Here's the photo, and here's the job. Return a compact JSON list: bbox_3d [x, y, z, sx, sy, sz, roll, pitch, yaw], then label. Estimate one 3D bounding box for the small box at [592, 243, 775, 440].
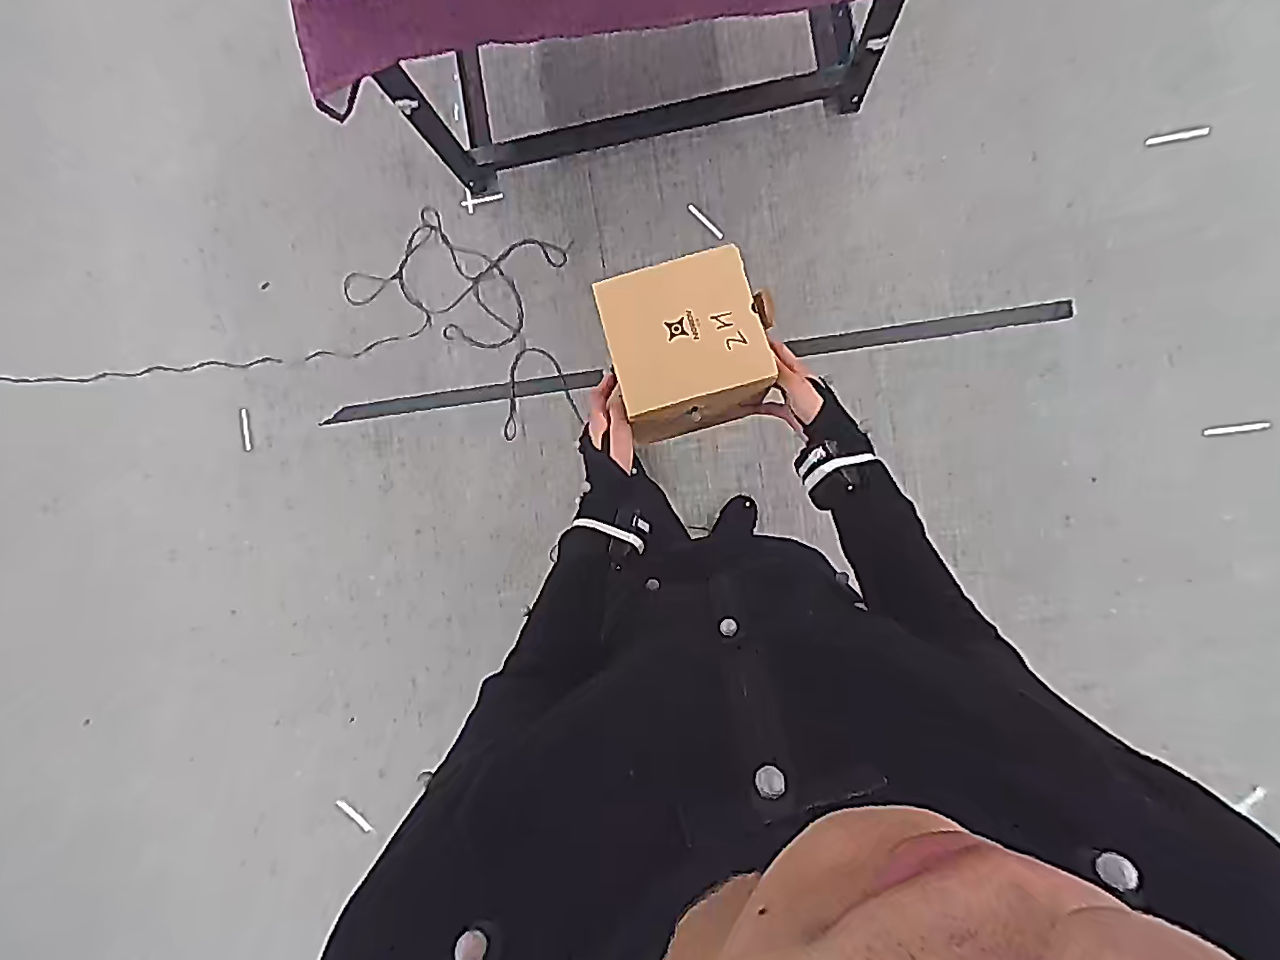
[{"bbox_3d":[0.051,-0.161,0.686,0.179,0.176,0.168,-15,81,0],"label":"small box"}]
